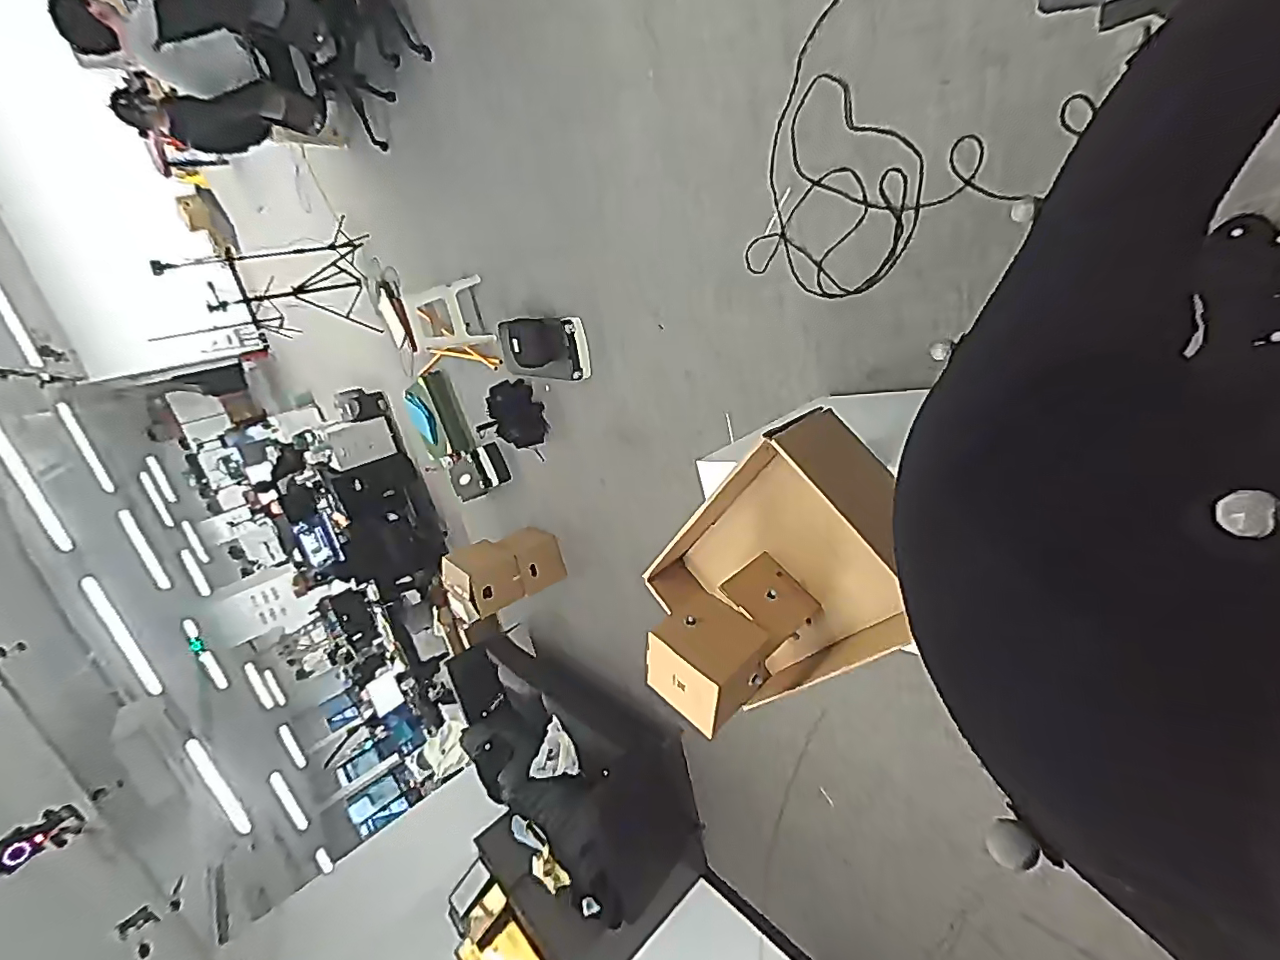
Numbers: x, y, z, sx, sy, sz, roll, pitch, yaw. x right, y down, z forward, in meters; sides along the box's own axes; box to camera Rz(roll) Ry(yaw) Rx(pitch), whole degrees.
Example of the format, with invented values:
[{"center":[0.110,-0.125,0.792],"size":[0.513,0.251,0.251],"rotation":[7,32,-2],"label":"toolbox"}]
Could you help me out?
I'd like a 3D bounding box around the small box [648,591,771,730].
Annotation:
[{"center":[0.136,0.351,1.091],"size":[0.179,0.176,0.168],"rotation":[29,134,36],"label":"small box"}]
